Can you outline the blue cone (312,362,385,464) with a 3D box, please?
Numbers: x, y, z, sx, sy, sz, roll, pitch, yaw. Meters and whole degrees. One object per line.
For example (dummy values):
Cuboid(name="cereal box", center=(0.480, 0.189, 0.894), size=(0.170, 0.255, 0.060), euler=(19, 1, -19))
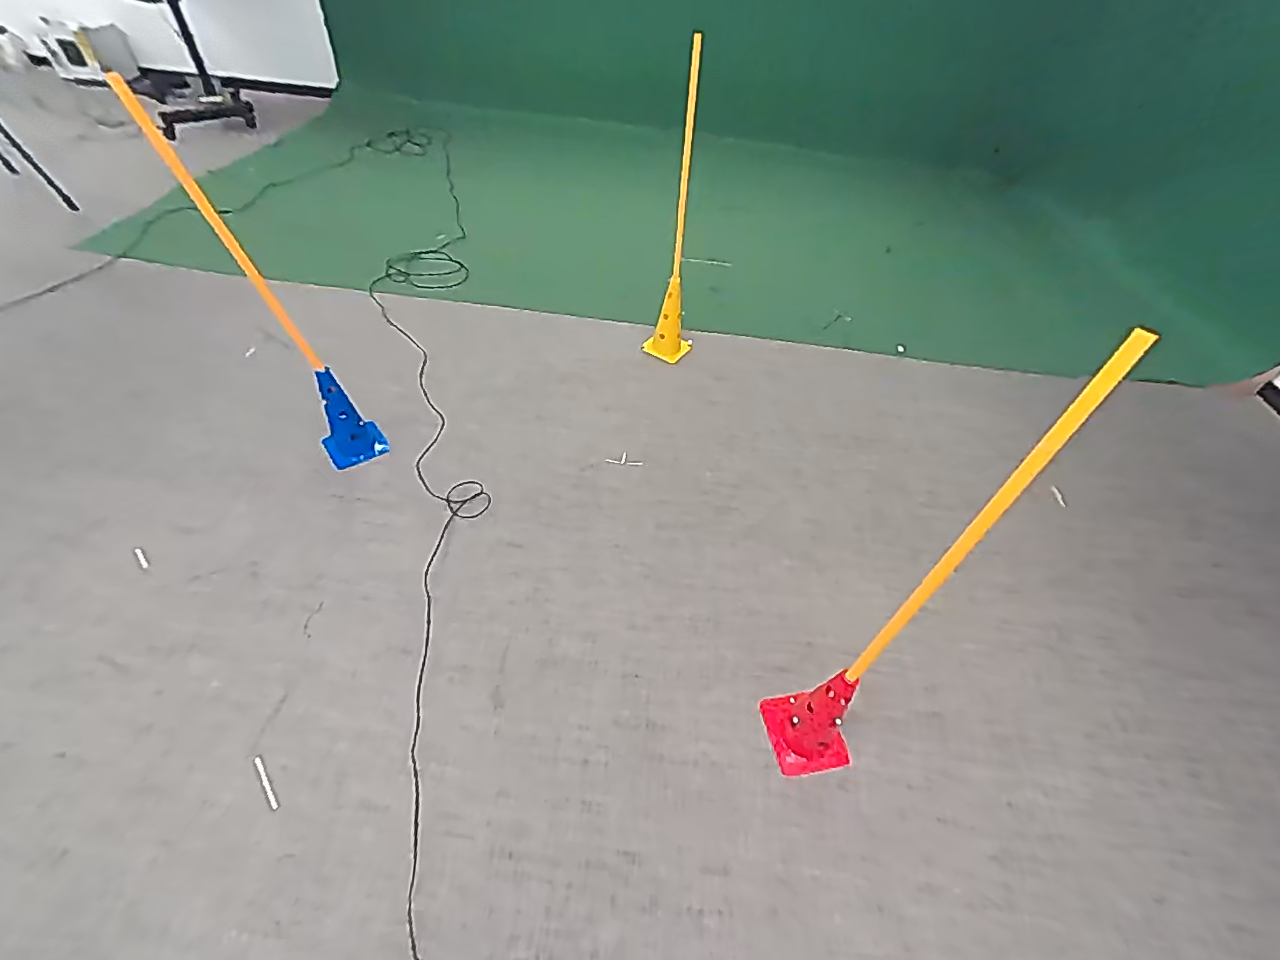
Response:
Cuboid(name="blue cone", center=(-1.061, -0.250, 1.904), size=(0.193, 0.380, 0.192), euler=(-30, 58, -27))
